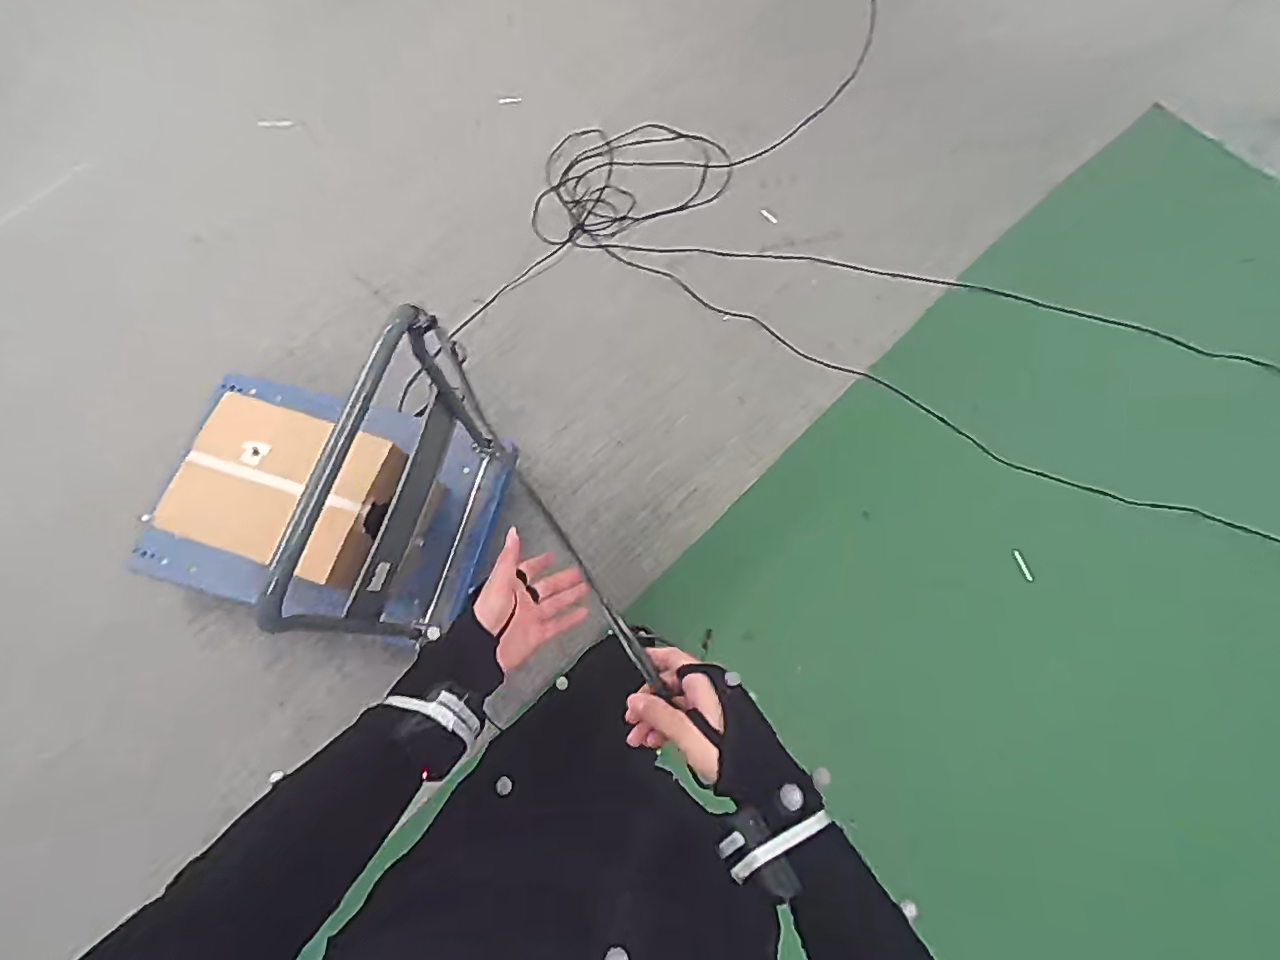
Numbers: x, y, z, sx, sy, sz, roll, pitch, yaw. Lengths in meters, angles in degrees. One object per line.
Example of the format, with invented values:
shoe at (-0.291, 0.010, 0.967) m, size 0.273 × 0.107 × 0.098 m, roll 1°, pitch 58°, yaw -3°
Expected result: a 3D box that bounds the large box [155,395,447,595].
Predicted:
large box at (-0.726, 0.051, 1.231) m, size 0.408 × 0.320 × 0.320 m, roll 16°, pitch 73°, yaw 7°
